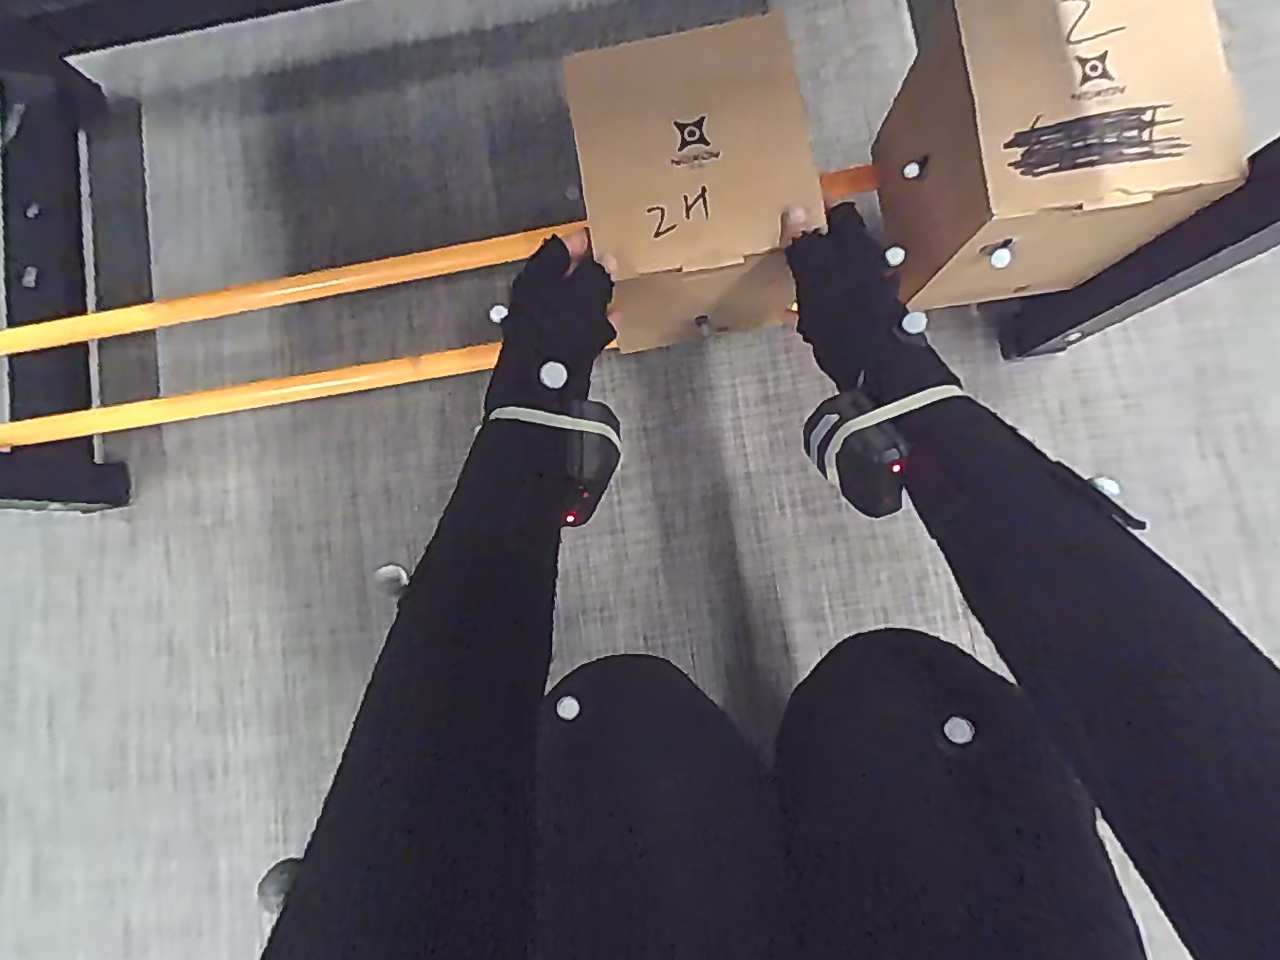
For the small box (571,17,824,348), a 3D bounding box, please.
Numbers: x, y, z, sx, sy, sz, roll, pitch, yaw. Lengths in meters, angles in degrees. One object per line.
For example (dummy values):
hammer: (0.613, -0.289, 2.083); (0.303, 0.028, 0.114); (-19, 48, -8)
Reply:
small box: (0.045, -0.236, 0.472); (0.168, 0.176, 0.179); (-9, 84, 5)
